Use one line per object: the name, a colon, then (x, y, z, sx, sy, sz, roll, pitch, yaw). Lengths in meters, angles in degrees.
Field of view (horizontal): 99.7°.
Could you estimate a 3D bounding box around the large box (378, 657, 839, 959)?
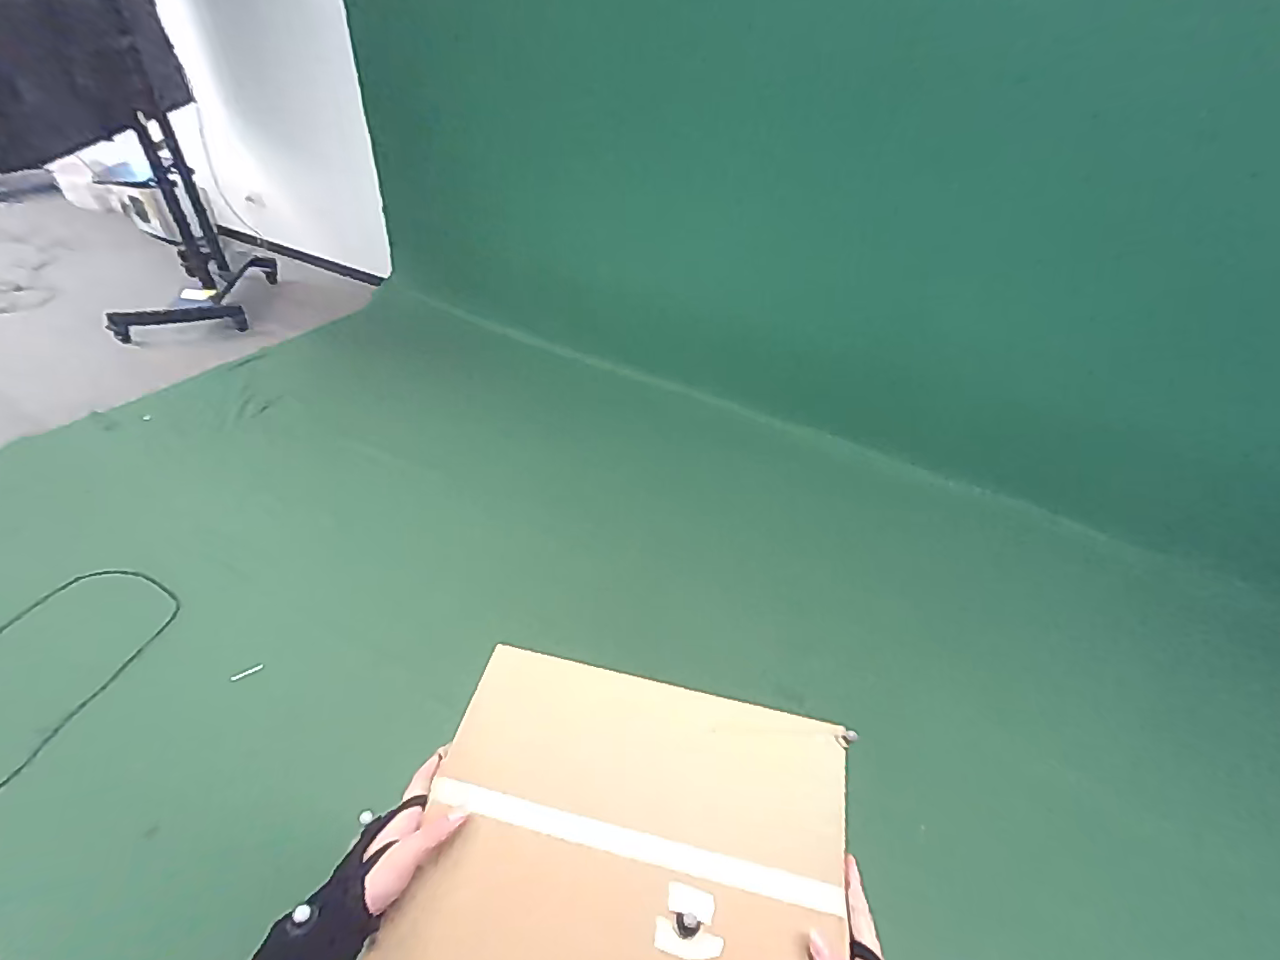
large box: (-0.011, 0.454, 0.641, 0.408, 0.320, 0.320, 11, 51, 8)
